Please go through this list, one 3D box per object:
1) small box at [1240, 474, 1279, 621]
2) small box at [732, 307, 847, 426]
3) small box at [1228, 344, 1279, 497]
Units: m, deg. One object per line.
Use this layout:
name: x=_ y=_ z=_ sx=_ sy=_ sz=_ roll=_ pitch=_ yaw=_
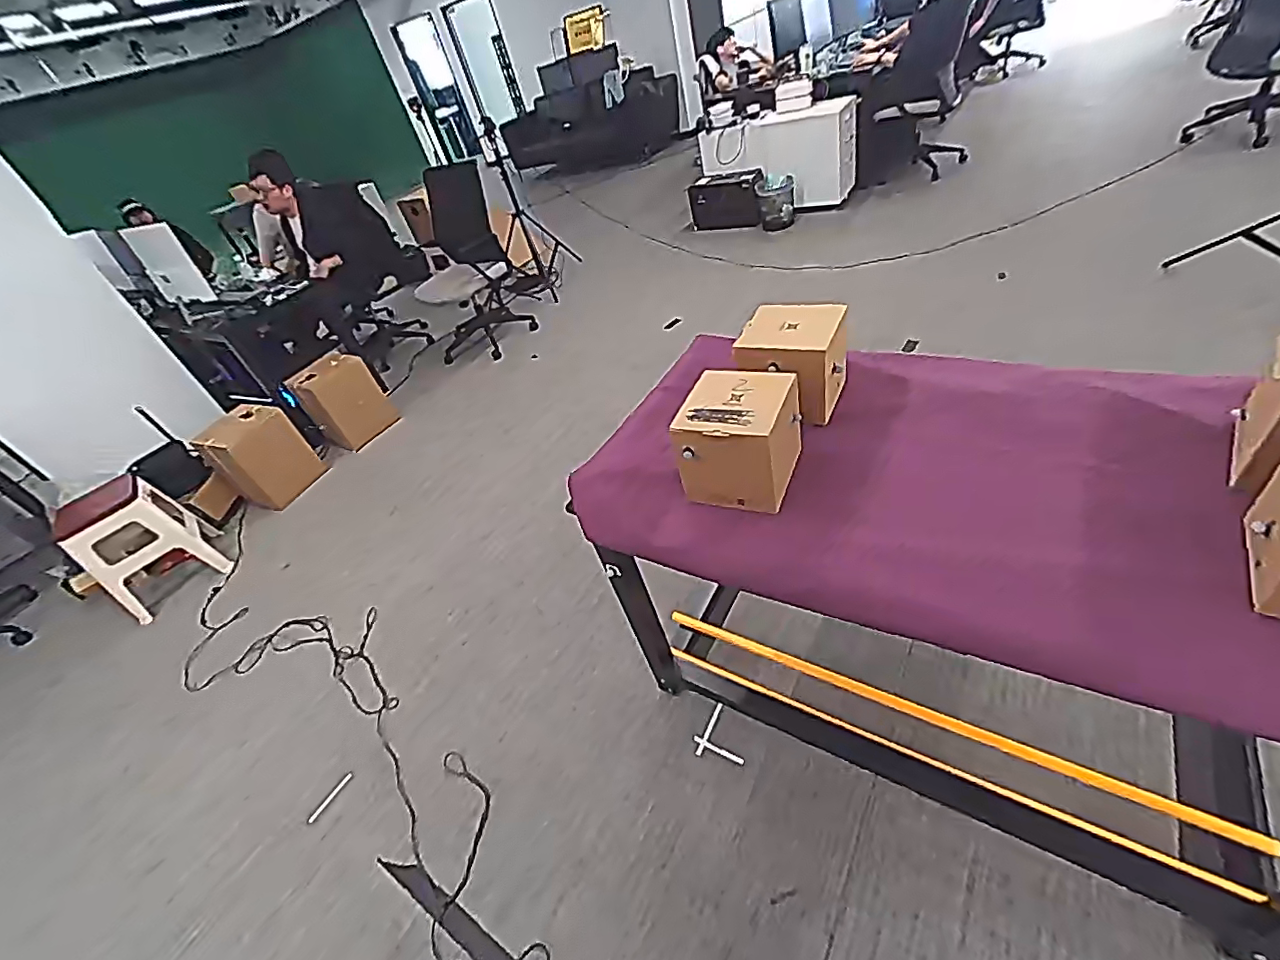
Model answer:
small box: x=0.788 y=0.063 z=0.561 sx=0.179 sy=0.176 sz=0.168 roll=15 pitch=48 yaw=34
small box: x=0.300 y=-0.224 z=1.070 sx=0.179 sy=0.176 sz=0.168 roll=10 pitch=47 yaw=29
small box: x=0.891 y=-0.069 z=0.673 sx=0.179 sy=0.176 sz=0.168 roll=20 pitch=54 yaw=35
